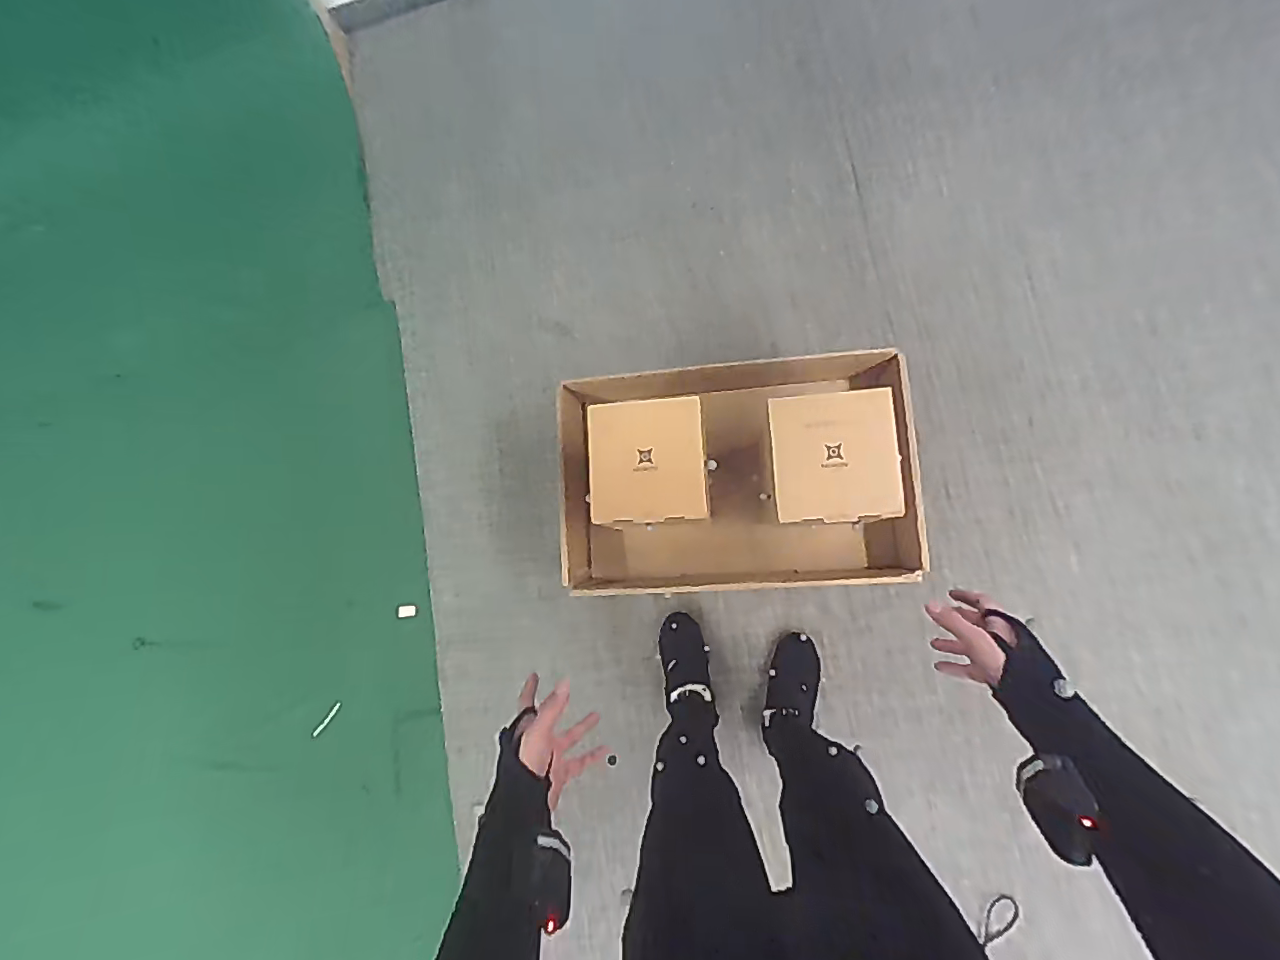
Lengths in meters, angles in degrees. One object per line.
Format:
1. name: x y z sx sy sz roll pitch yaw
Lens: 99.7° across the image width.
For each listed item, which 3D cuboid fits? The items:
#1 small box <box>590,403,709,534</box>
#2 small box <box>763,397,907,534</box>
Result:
1. small box: 0.019 -0.009 0.836 0.168 0.176 0.179 -3 82 8
2. small box: 0.273 -0.011 0.793 0.168 0.176 0.179 -3 82 8
